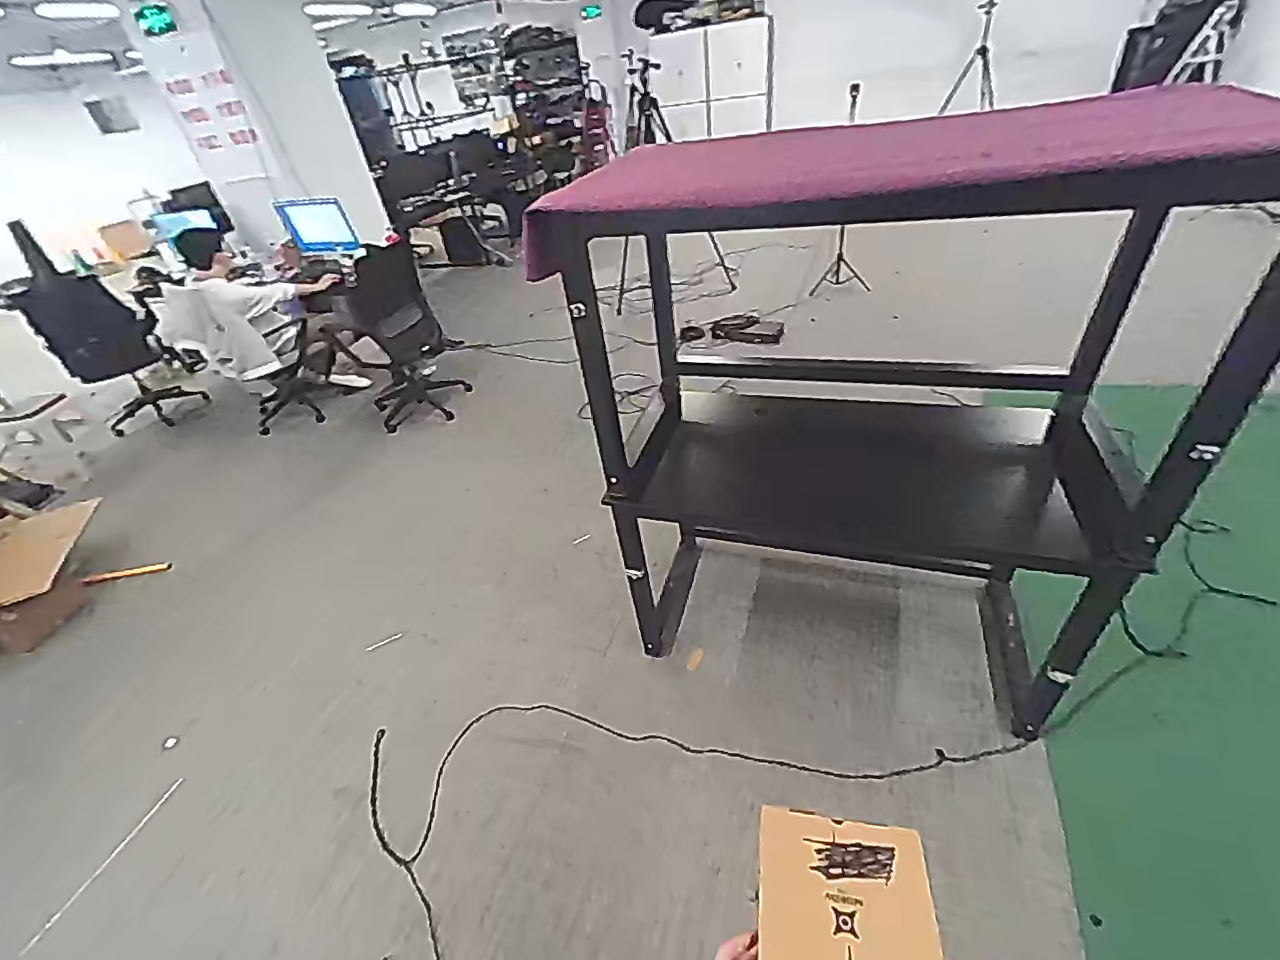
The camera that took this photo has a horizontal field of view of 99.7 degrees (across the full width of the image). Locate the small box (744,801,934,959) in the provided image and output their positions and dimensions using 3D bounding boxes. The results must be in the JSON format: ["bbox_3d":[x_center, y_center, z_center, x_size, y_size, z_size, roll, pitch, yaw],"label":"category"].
[{"bbox_3d":[0.195,0.476,0.563,0.168,0.176,0.179,2,37,13],"label":"small box"}]
